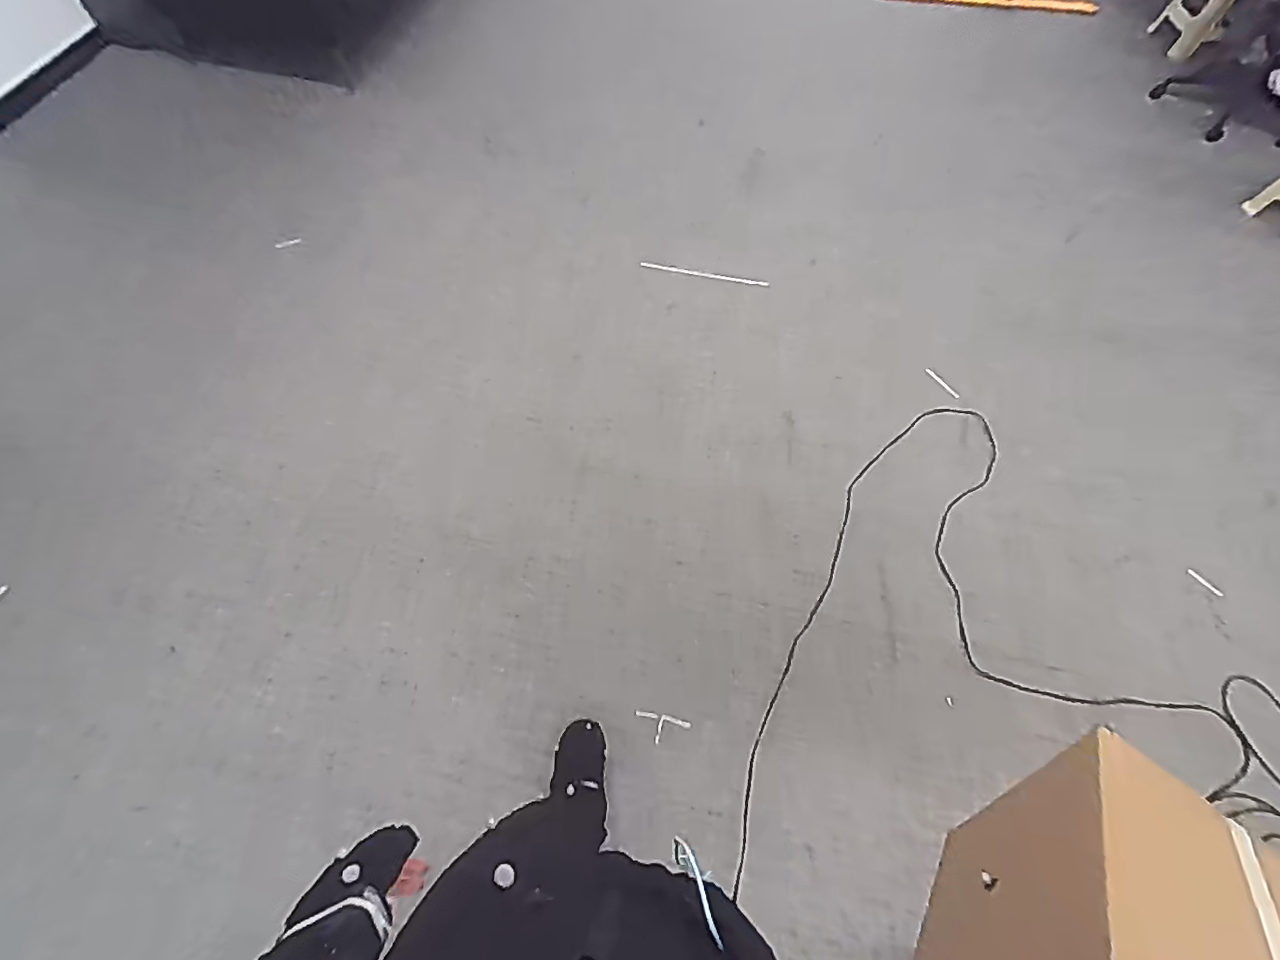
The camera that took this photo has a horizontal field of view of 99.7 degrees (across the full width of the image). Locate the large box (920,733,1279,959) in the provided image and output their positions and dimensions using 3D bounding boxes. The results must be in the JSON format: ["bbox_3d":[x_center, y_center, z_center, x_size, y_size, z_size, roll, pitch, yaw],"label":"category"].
[{"bbox_3d":[0.540,0.584,0.587,0.320,0.320,0.408,42,32,24],"label":"large box"}]
